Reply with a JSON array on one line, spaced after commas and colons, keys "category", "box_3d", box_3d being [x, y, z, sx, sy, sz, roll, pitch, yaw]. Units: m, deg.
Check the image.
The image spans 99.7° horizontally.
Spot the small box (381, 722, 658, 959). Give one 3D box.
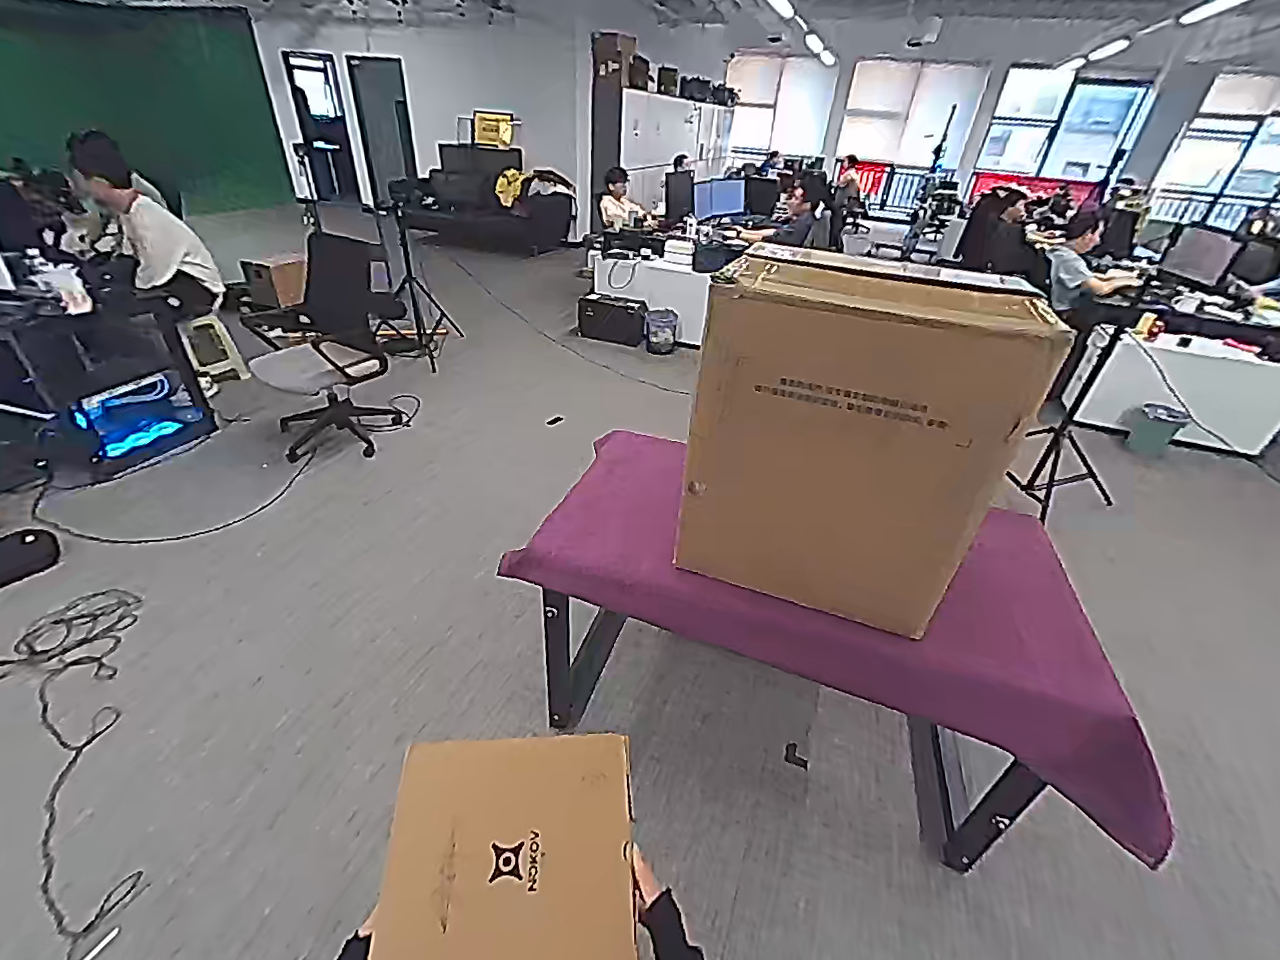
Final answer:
[{"category": "small box", "box_3d": [-0.088, 0.312, 0.441, 0.179, 0.176, 0.168, -1, 49, -7]}]
